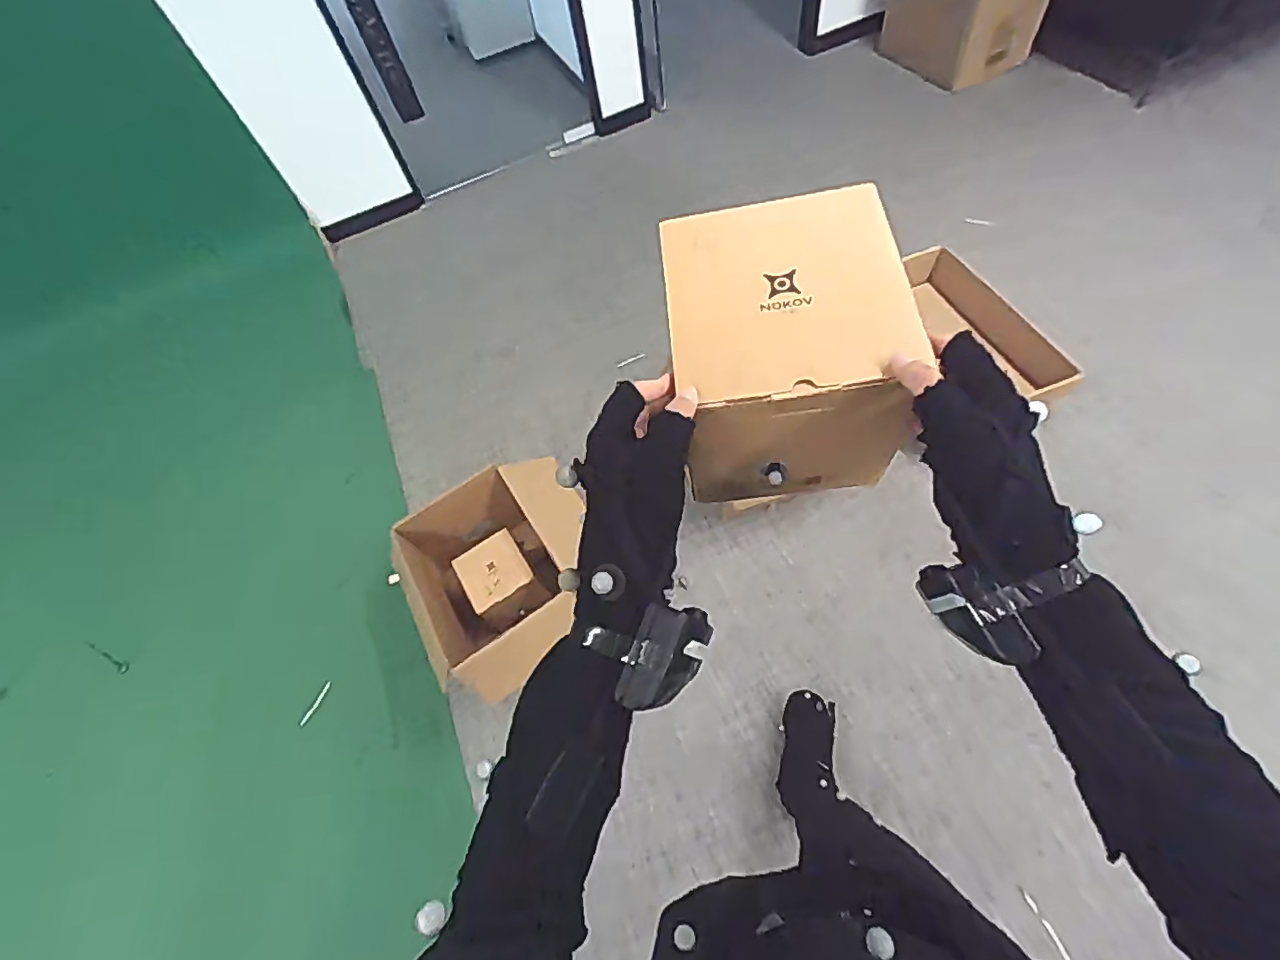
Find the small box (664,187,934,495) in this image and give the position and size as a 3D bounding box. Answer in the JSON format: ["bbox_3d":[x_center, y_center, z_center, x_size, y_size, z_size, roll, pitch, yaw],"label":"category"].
[{"bbox_3d":[0.114,-0.104,0.457,0.168,0.176,0.179,-7,65,7],"label":"small box"}]
